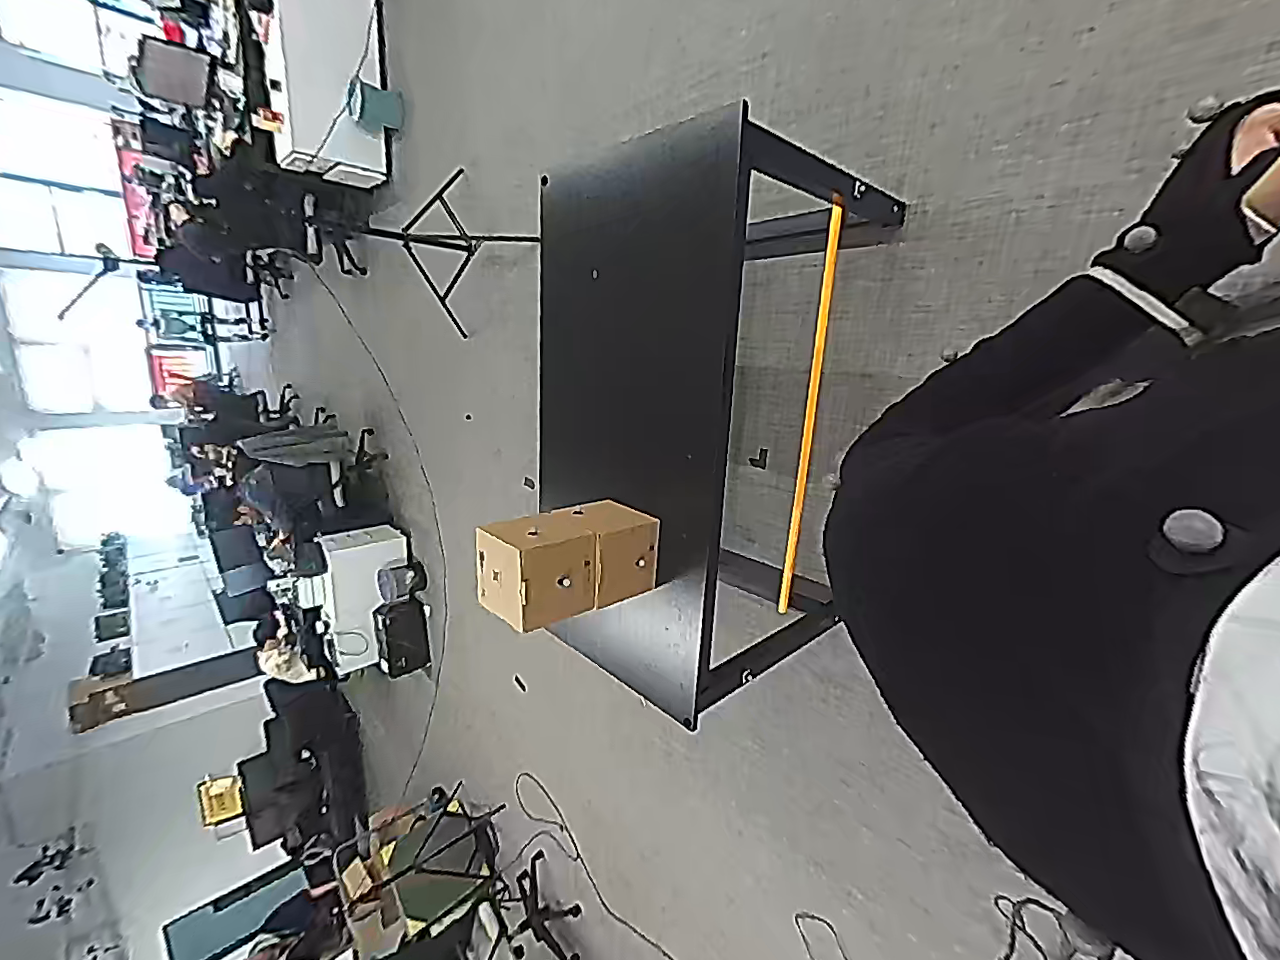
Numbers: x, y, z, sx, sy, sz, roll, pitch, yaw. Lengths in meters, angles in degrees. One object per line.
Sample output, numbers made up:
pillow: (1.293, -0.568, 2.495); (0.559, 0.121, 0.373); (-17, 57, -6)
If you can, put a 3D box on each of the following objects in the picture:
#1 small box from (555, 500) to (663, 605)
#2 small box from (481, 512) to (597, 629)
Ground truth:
small box: (-0.072, 0.148, 1.188); (0.179, 0.176, 0.168); (19, 112, 45)
small box: (-0.200, 0.169, 1.086); (0.179, 0.176, 0.168); (15, 108, 45)
